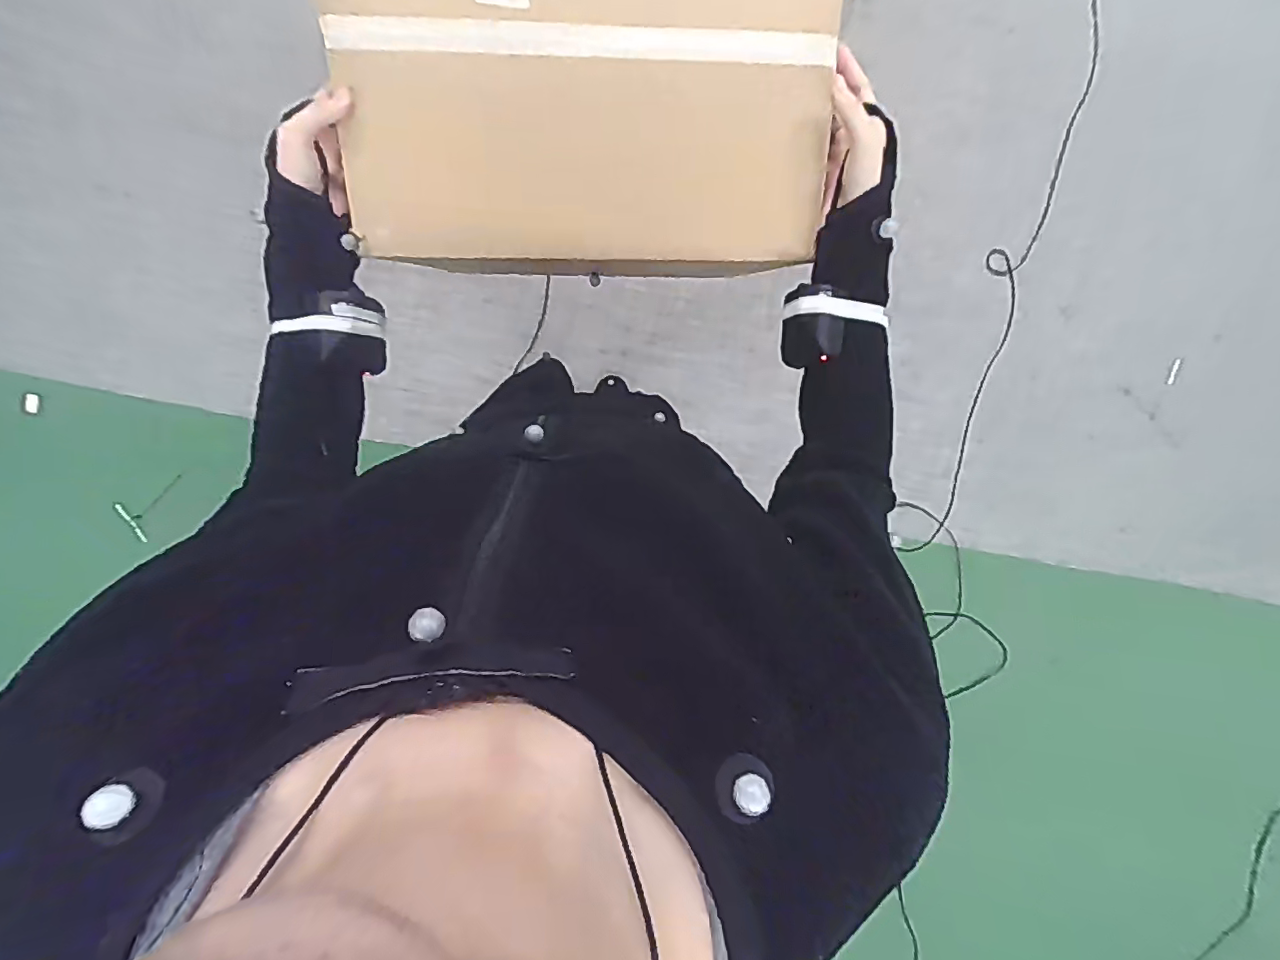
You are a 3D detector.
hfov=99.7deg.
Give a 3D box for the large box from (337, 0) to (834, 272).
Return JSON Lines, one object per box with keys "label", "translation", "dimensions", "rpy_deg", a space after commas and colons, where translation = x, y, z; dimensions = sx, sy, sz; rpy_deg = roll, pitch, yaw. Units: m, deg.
{"label": "large box", "translation": [-0.047, -0.397, 0.583], "dimensions": [0.408, 0.320, 0.320], "rpy_deg": [-2, 107, -3]}
